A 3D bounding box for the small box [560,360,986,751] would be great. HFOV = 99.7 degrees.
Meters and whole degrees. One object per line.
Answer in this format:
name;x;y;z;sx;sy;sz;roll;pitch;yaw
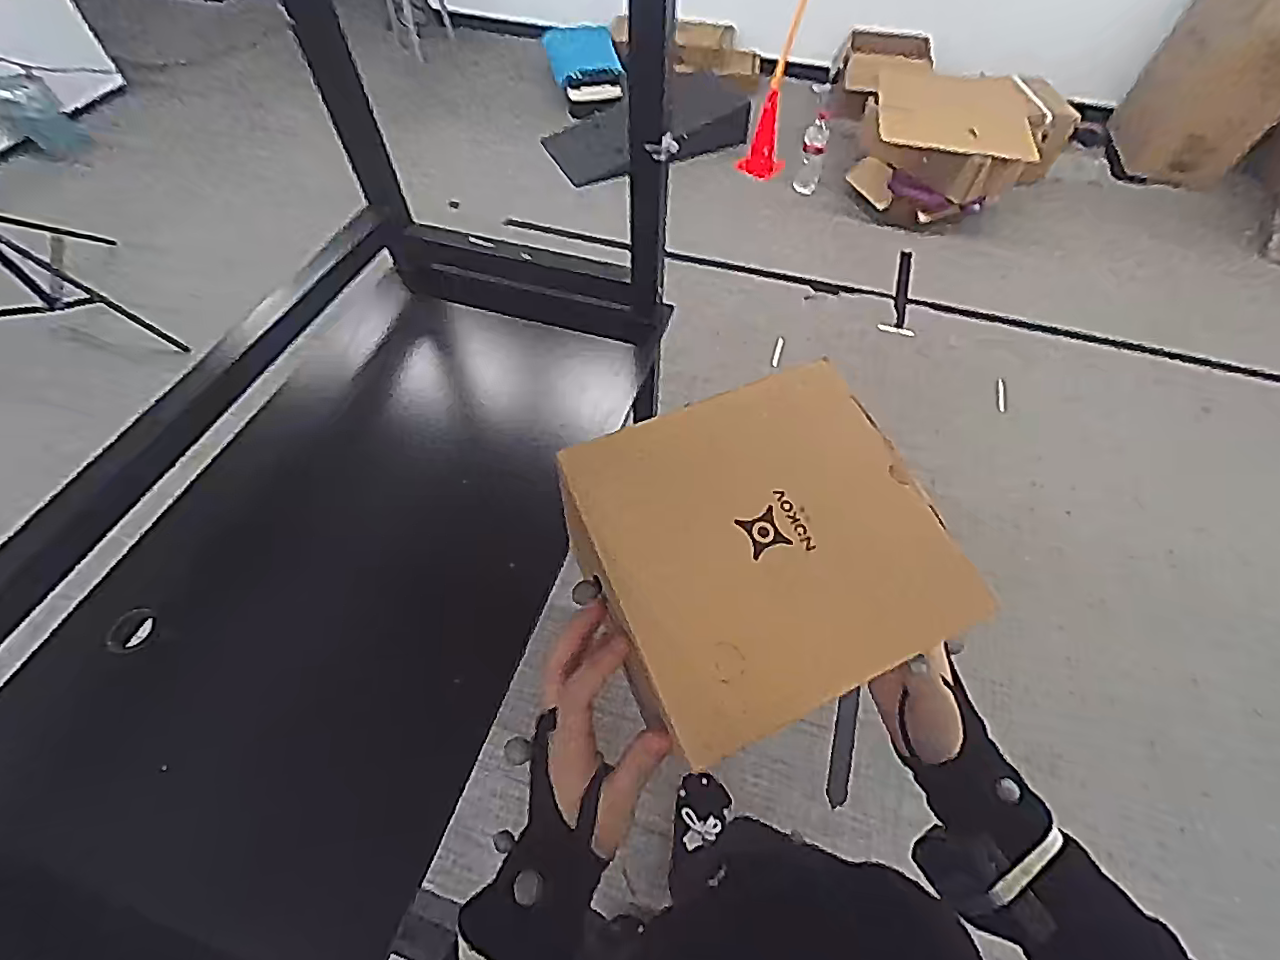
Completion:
small box;0.061;0.057;0.356;0.179;0.176;0.168;-22;69;-15
